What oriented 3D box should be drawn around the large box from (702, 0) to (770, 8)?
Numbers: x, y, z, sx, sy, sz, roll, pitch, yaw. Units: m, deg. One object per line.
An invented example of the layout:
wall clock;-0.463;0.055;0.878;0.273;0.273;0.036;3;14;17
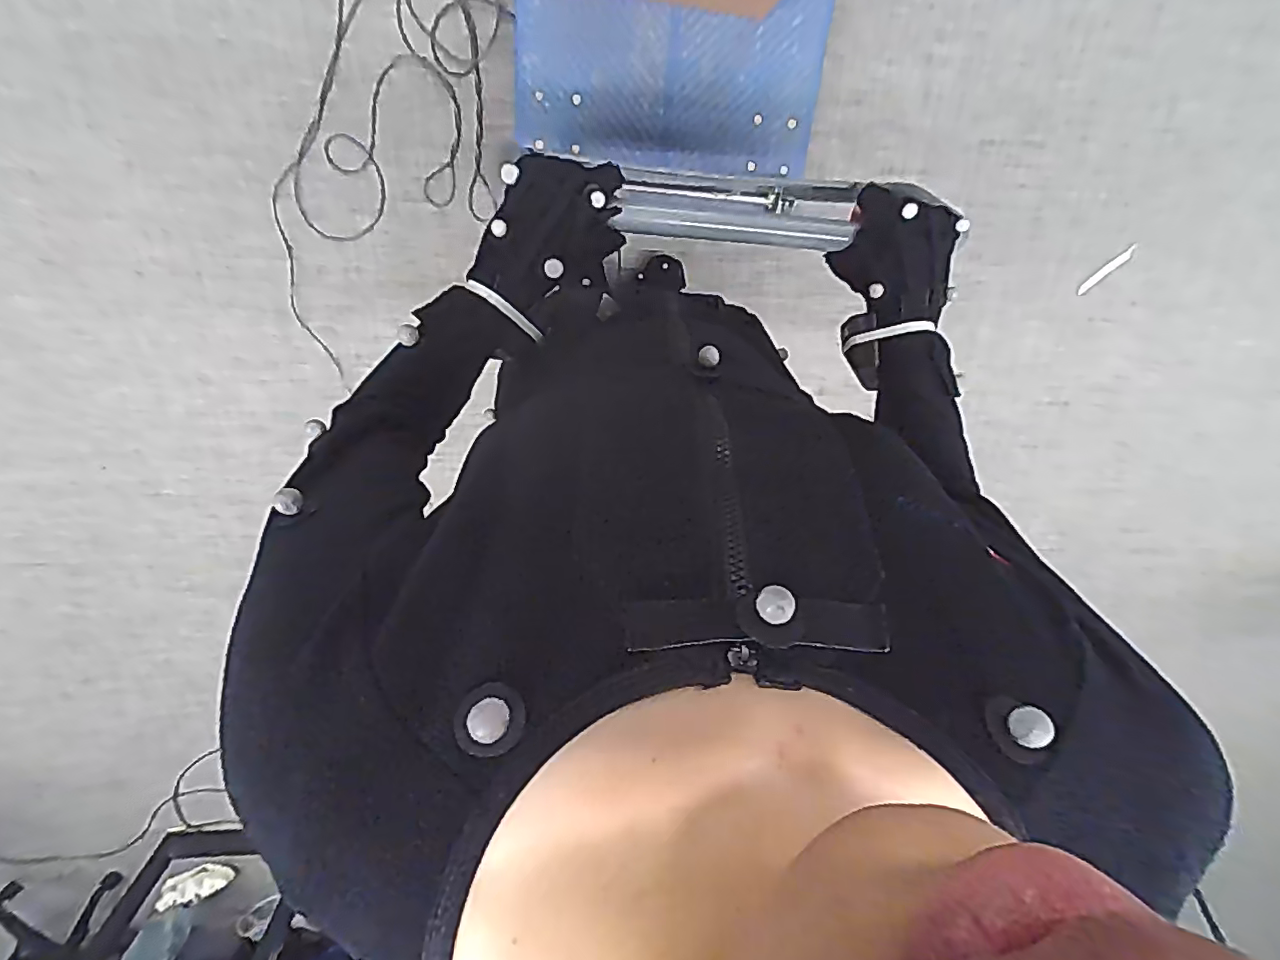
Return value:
large box;0.057;-0.936;0.769;0.408;0.320;0.320;4;115;-6
